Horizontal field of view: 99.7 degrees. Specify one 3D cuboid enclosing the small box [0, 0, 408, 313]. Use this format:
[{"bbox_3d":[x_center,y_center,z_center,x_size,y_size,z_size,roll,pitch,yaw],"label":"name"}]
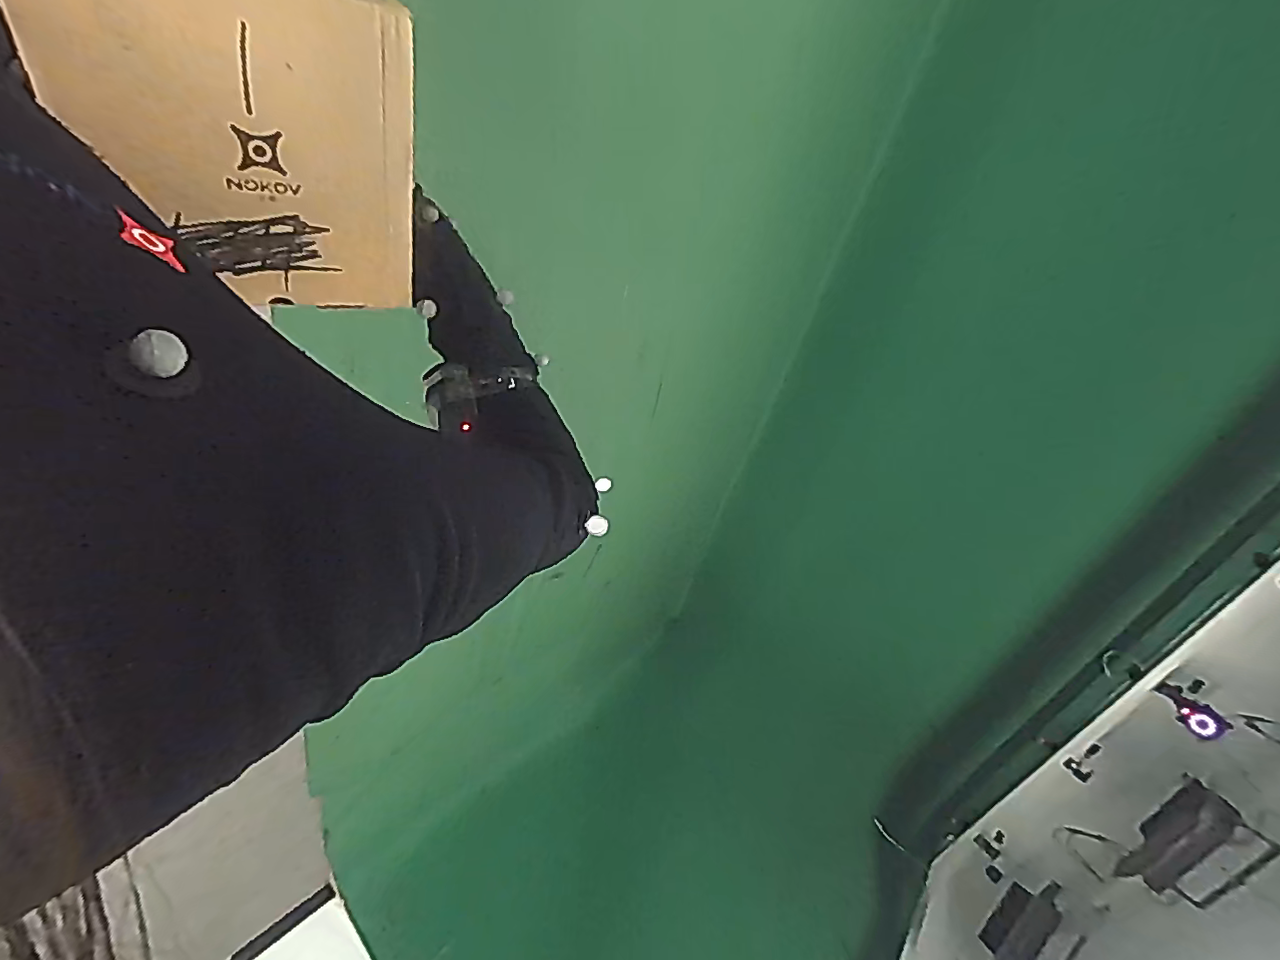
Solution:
[{"bbox_3d":[-0.262,-0.230,0.350,0.168,0.176,0.179,-12,140,-35],"label":"small box"}]
